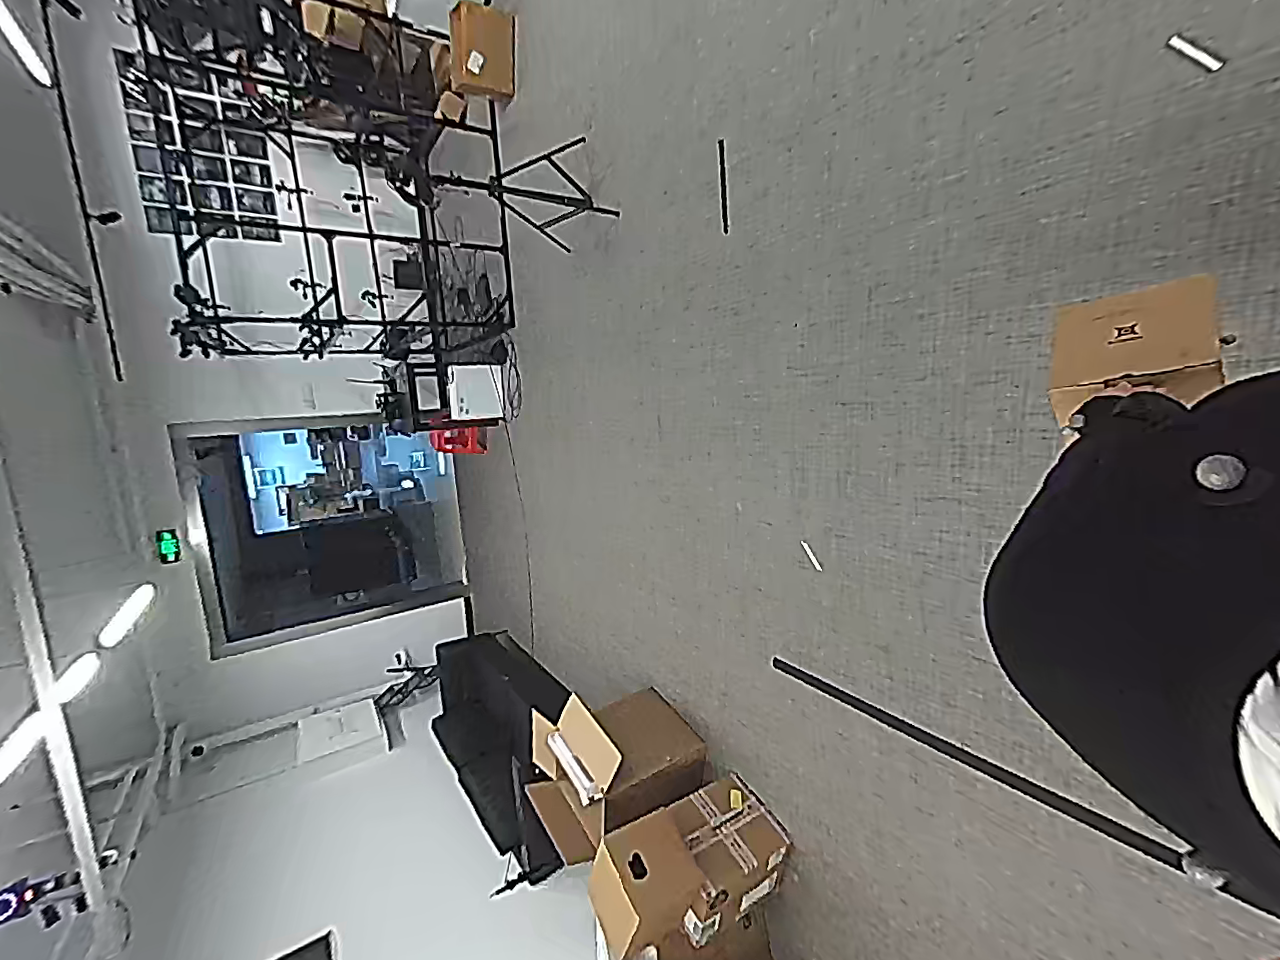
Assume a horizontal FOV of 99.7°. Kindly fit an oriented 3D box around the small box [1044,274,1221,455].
[{"bbox_3d":[0.698,-0.148,0.769,0.168,0.179,0.176,-5,138,46],"label":"small box"}]
